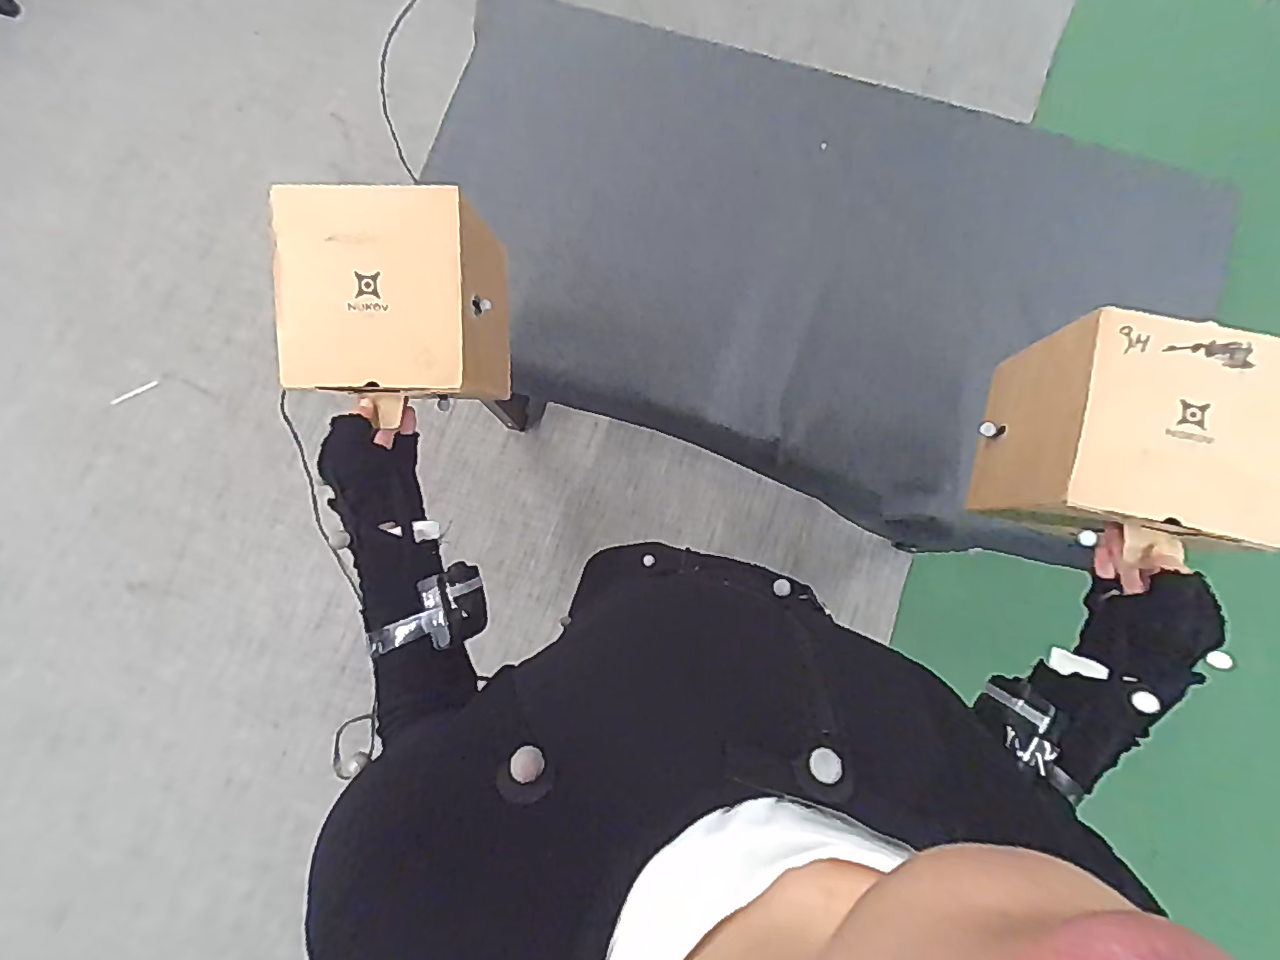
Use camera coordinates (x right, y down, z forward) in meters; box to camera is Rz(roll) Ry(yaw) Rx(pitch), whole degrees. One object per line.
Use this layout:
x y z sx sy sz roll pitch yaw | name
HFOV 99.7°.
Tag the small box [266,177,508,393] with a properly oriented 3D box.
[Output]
-0.234 -0.178 0.544 0.168 0.176 0.179 0 96 0 | small box
